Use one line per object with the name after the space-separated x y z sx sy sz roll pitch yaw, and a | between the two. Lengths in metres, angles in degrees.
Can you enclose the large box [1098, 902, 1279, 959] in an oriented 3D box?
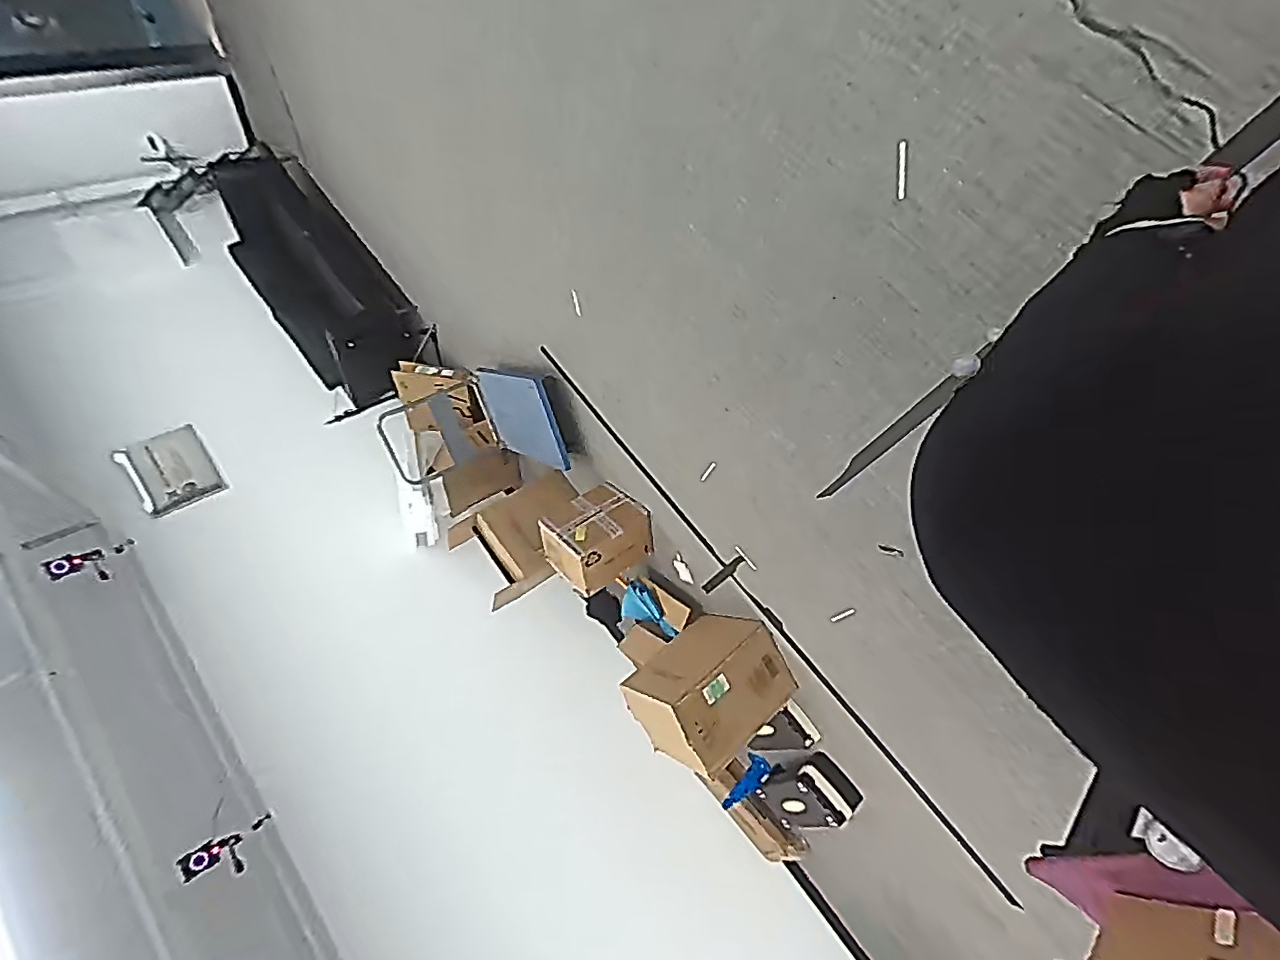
0.772 0.766 0.567 0.408 0.320 0.320 48 151 14 | large box
